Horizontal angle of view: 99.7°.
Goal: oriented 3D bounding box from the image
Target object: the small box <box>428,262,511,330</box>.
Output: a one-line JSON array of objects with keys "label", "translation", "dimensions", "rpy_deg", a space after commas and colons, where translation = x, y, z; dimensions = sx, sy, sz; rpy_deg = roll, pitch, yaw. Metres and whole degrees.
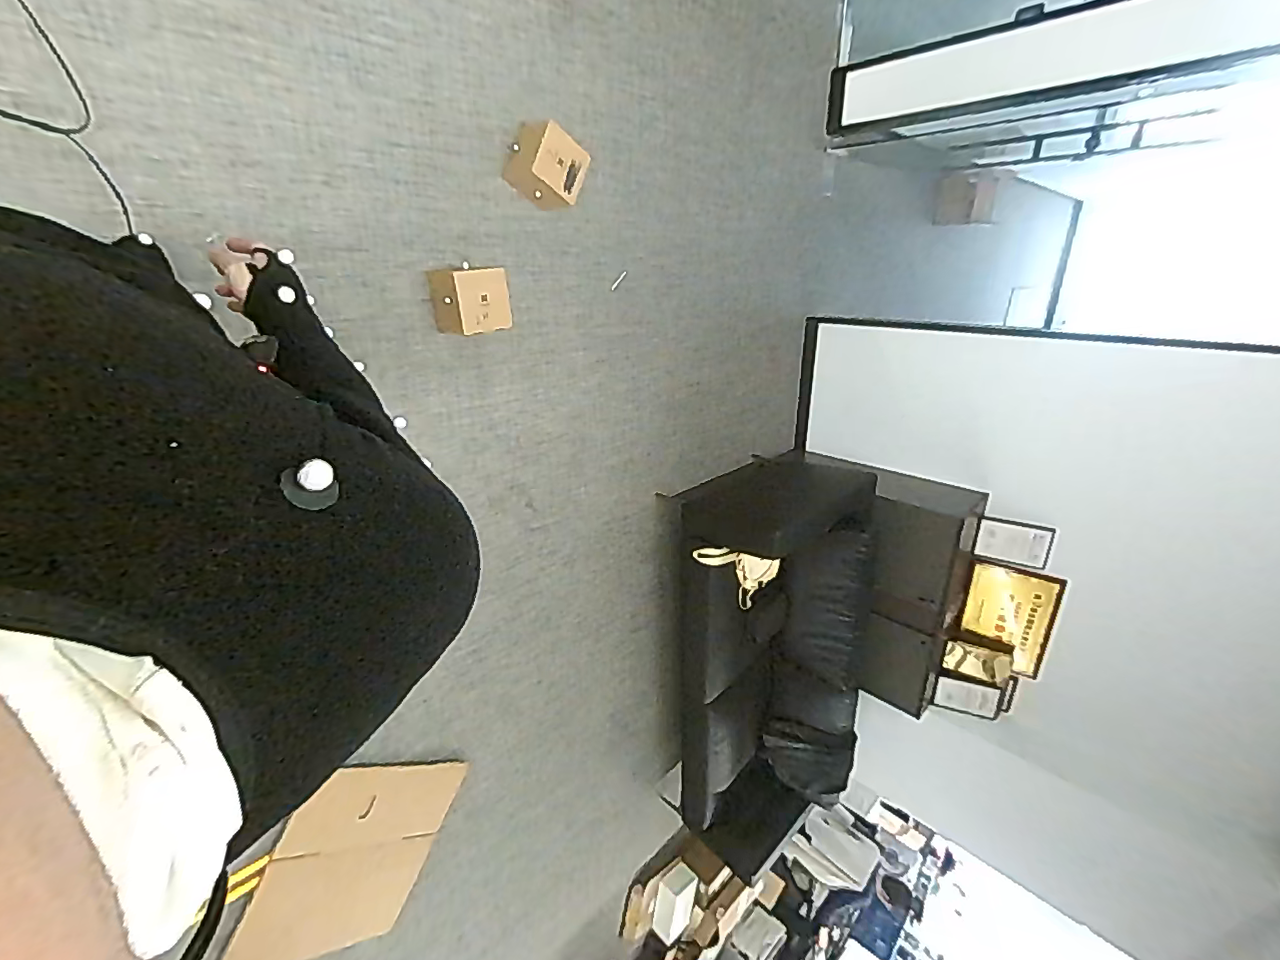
[{"label": "small box", "translation": [-0.513, -0.555, 1.618], "dimensions": [0.168, 0.176, 0.179], "rpy_deg": [-24, 122, -38]}]
